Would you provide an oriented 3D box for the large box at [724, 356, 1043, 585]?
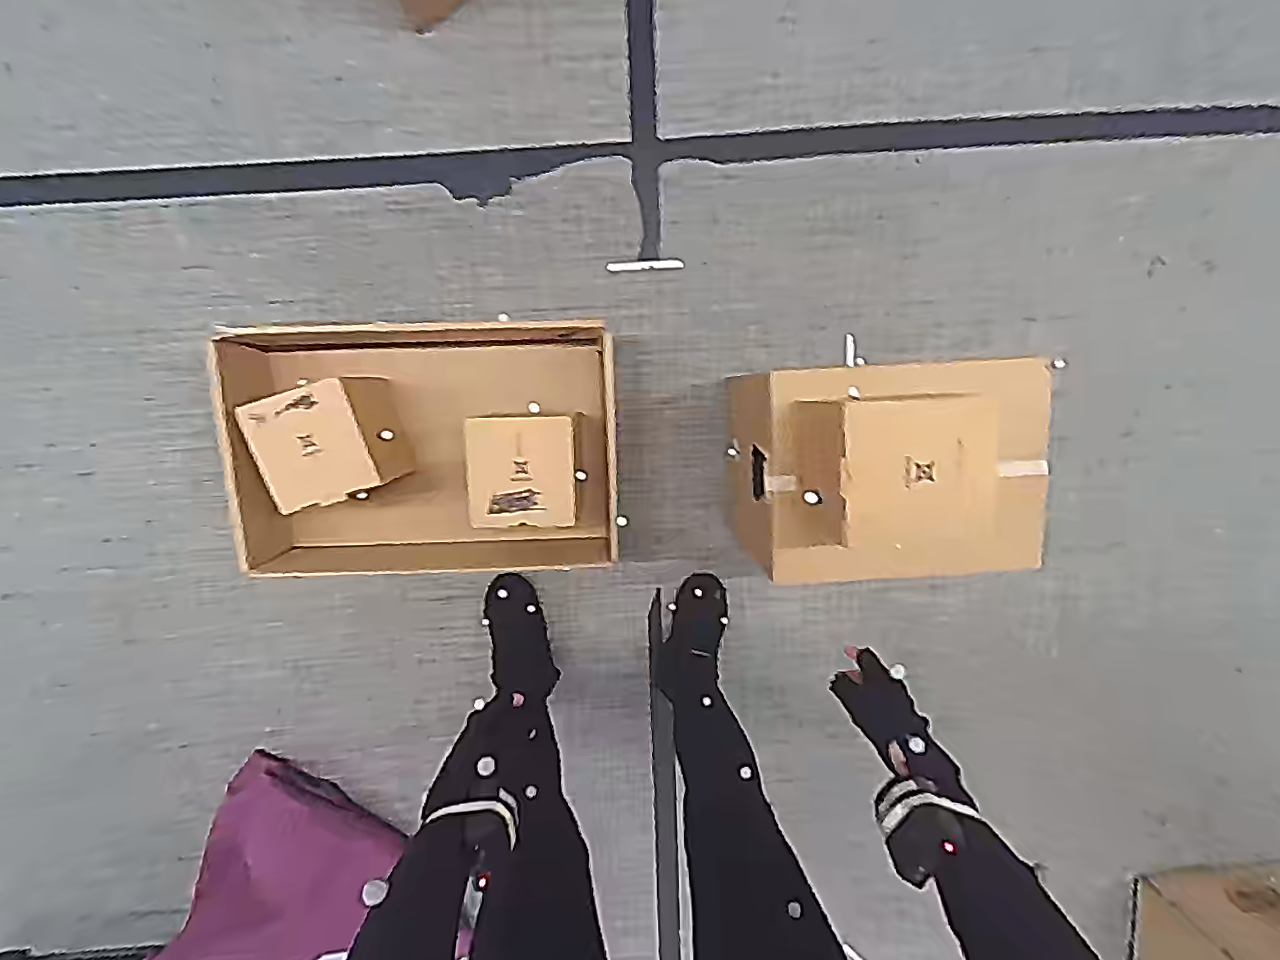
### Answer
[{"bbox_3d":[0.378,-0.031,0.930,0.408,0.320,0.320,-4,99,-3],"label":"large box"}]
